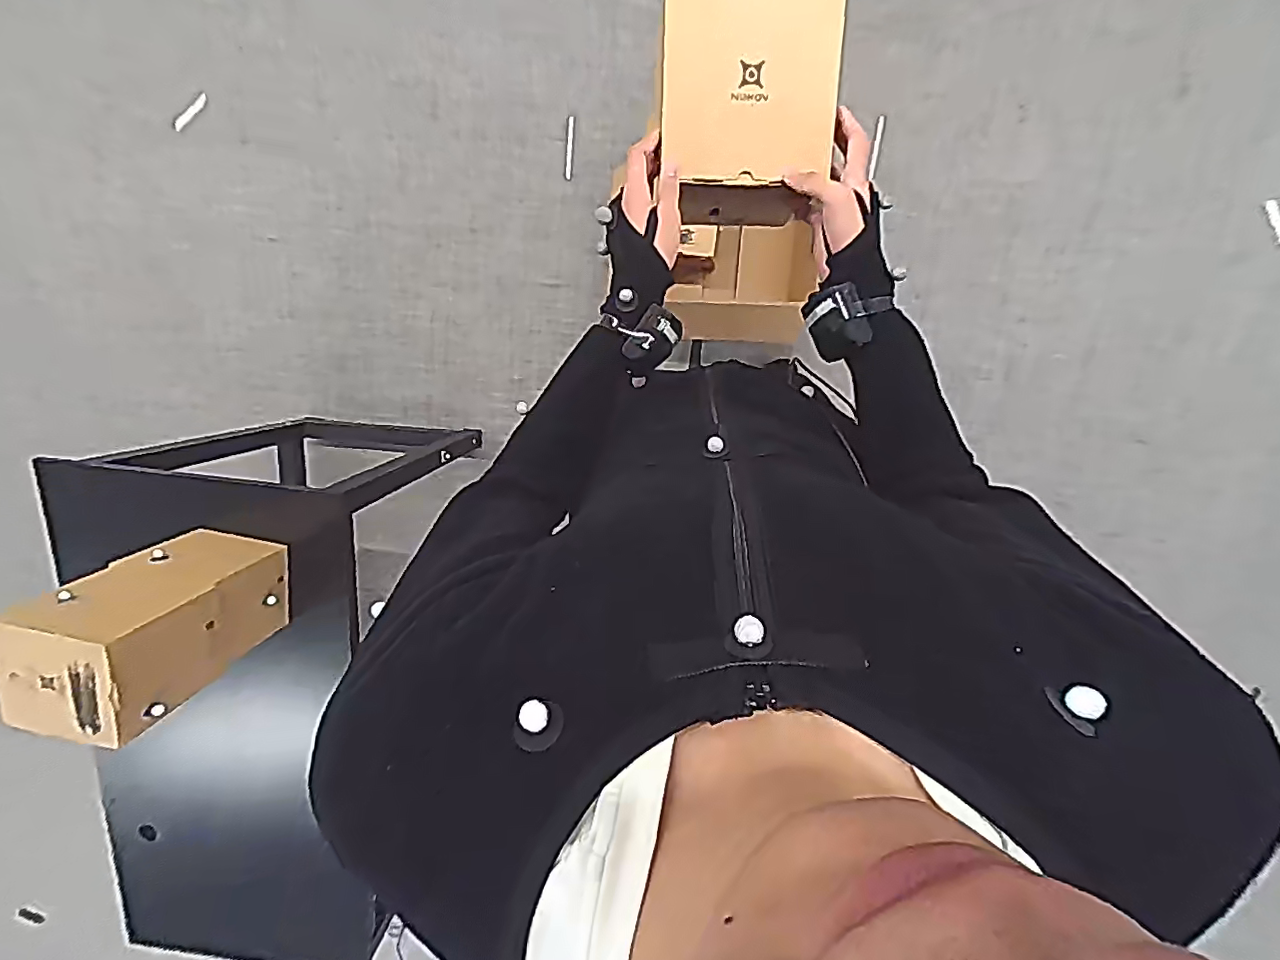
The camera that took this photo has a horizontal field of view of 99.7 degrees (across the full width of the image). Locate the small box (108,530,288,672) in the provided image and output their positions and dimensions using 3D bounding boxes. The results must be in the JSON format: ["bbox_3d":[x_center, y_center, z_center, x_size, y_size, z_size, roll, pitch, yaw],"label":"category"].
[{"bbox_3d":[-0.755,0.199,0.940,0.179,0.176,0.168,11,106,3],"label":"small box"}]

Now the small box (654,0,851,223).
[{"bbox_3d":[0.101,-0.387,0.568,0.168,0.176,0.179,1,103,-2],"label":"small box"}]
